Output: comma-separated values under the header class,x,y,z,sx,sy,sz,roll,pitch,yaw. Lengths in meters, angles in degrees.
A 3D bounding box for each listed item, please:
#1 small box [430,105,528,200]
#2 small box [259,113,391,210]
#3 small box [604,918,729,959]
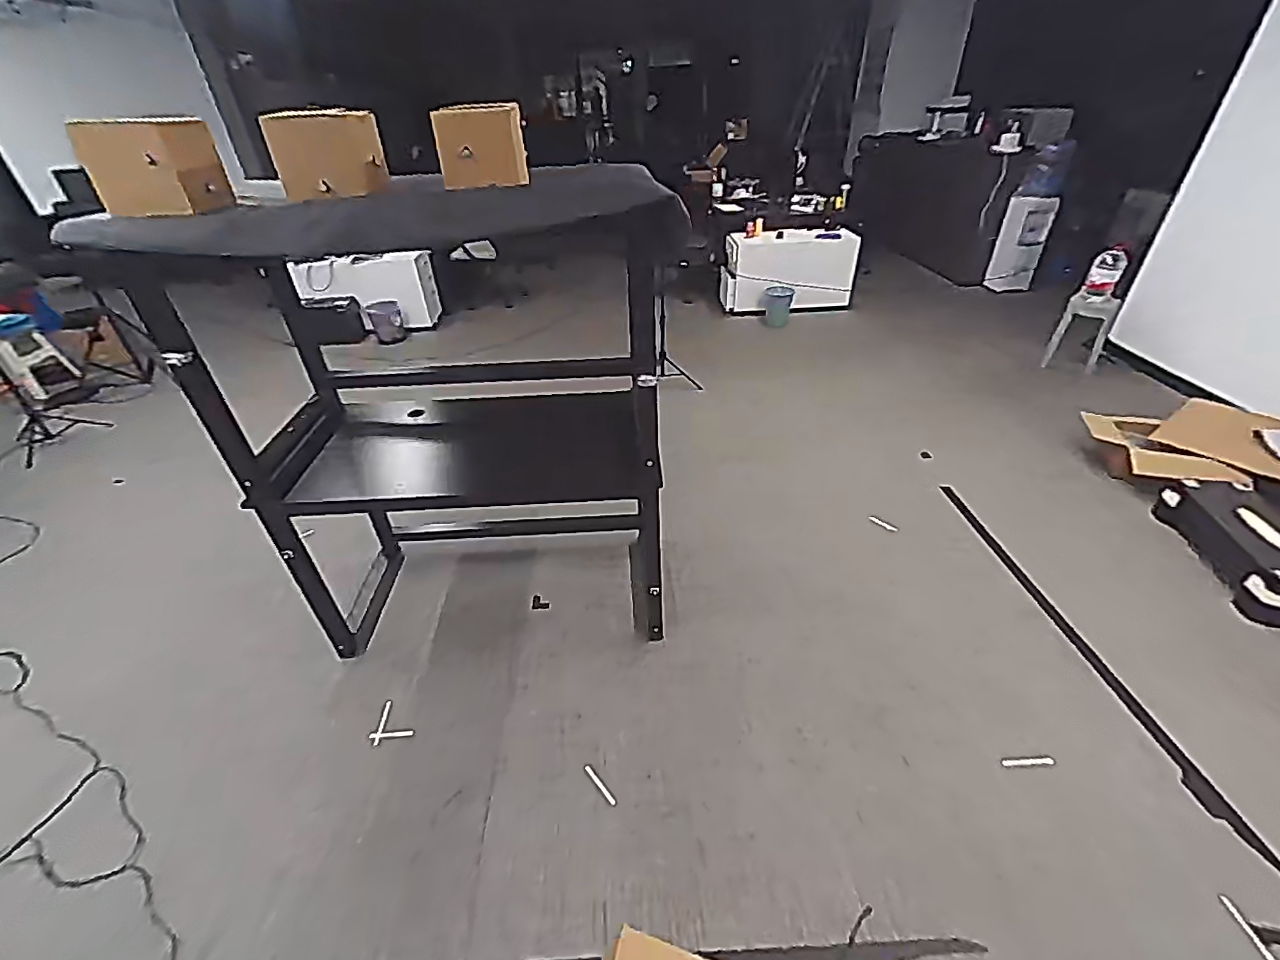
class,x,y,z,sx,sy,sz,roll,pitch,yaw
small box,-0.352,-0.735,1.217,0.168,0.176,0.179,-5,35,-3
small box,-0.672,-0.698,1.183,0.179,0.176,0.168,-3,34,-2
small box,0.022,0.628,0.583,0.168,0.176,0.179,17,37,6
